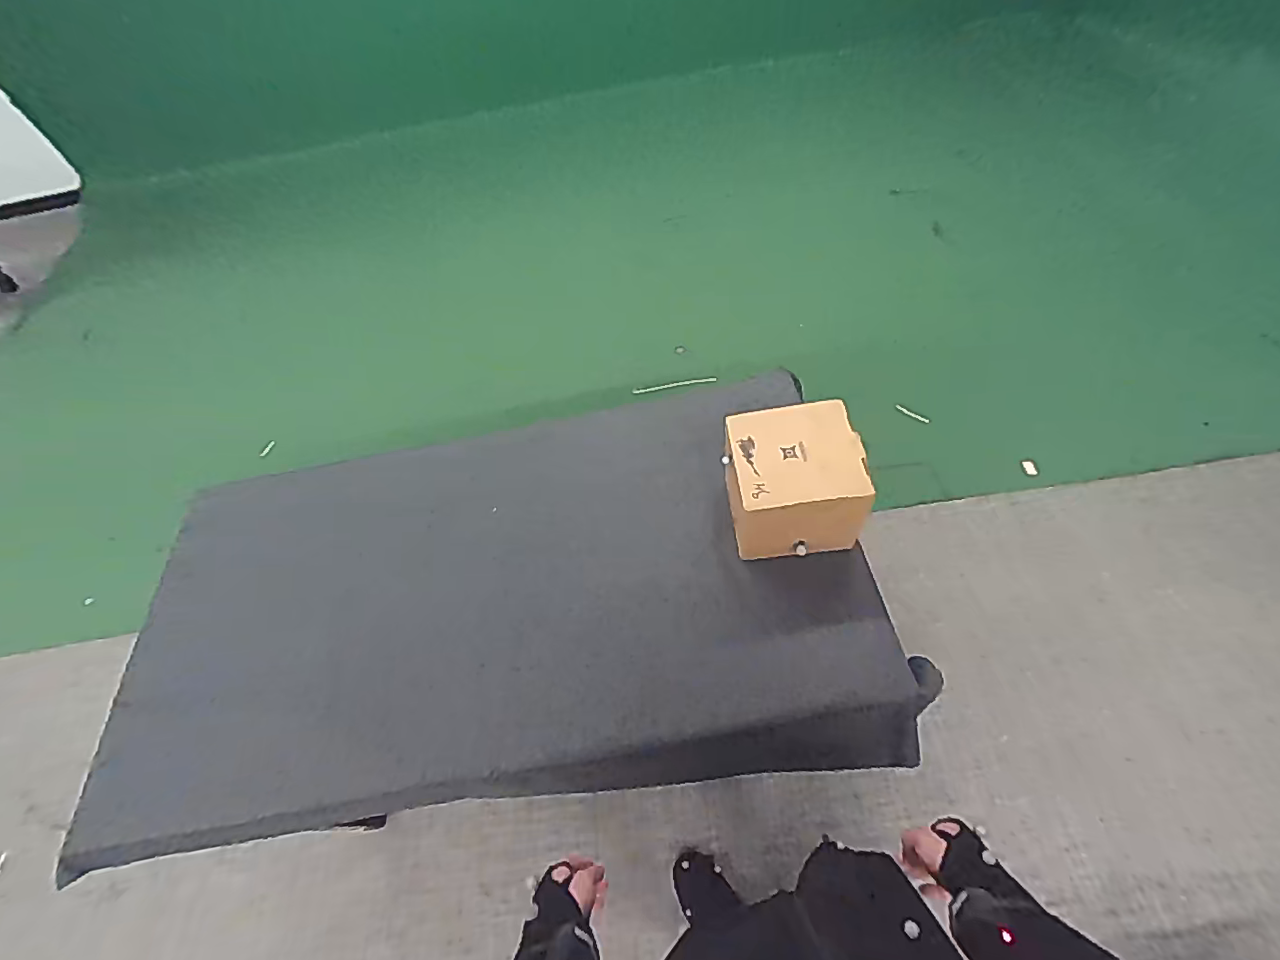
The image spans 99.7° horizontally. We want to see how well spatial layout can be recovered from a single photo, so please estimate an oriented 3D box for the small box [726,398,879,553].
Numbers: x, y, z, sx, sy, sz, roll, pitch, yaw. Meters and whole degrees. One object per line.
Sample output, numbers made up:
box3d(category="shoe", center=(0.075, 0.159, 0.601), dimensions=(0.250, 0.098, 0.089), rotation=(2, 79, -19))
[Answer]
box3d(category="small box", center=(0.231, -0.001, 0.819), dimensions=(0.179, 0.176, 0.168), rotation=(-6, 58, 3))
